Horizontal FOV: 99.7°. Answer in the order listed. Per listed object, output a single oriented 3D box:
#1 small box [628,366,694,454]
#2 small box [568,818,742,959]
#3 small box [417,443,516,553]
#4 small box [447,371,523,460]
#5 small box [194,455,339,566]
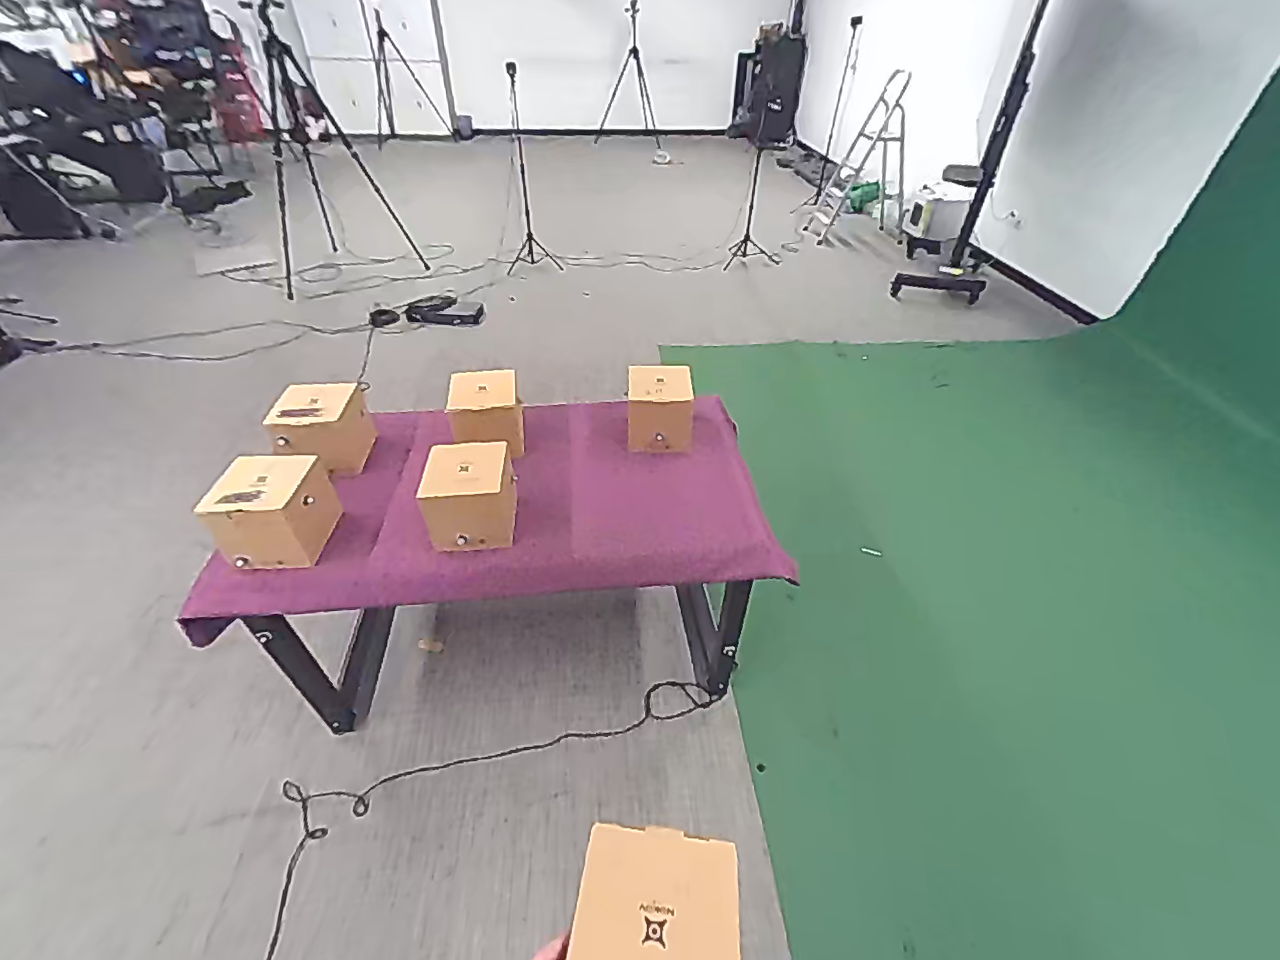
[{"bbox_3d":[0.052,-0.189,1.453,0.168,0.176,0.179,0,42,0],"label":"small box"},{"bbox_3d":[0.017,0.508,0.578,0.168,0.176,0.179,4,29,6],"label":"small box"},{"bbox_3d":[-0.368,0.038,1.183,0.168,0.176,0.179,-3,41,-4],"label":"small box"},{"bbox_3d":[-0.399,-0.167,1.416,0.168,0.176,0.179,-6,43,-9],"label":"small box"},{"bbox_3d":[-0.764,0.067,1.132,0.168,0.176,0.179,-1,40,-4],"label":"small box"}]
